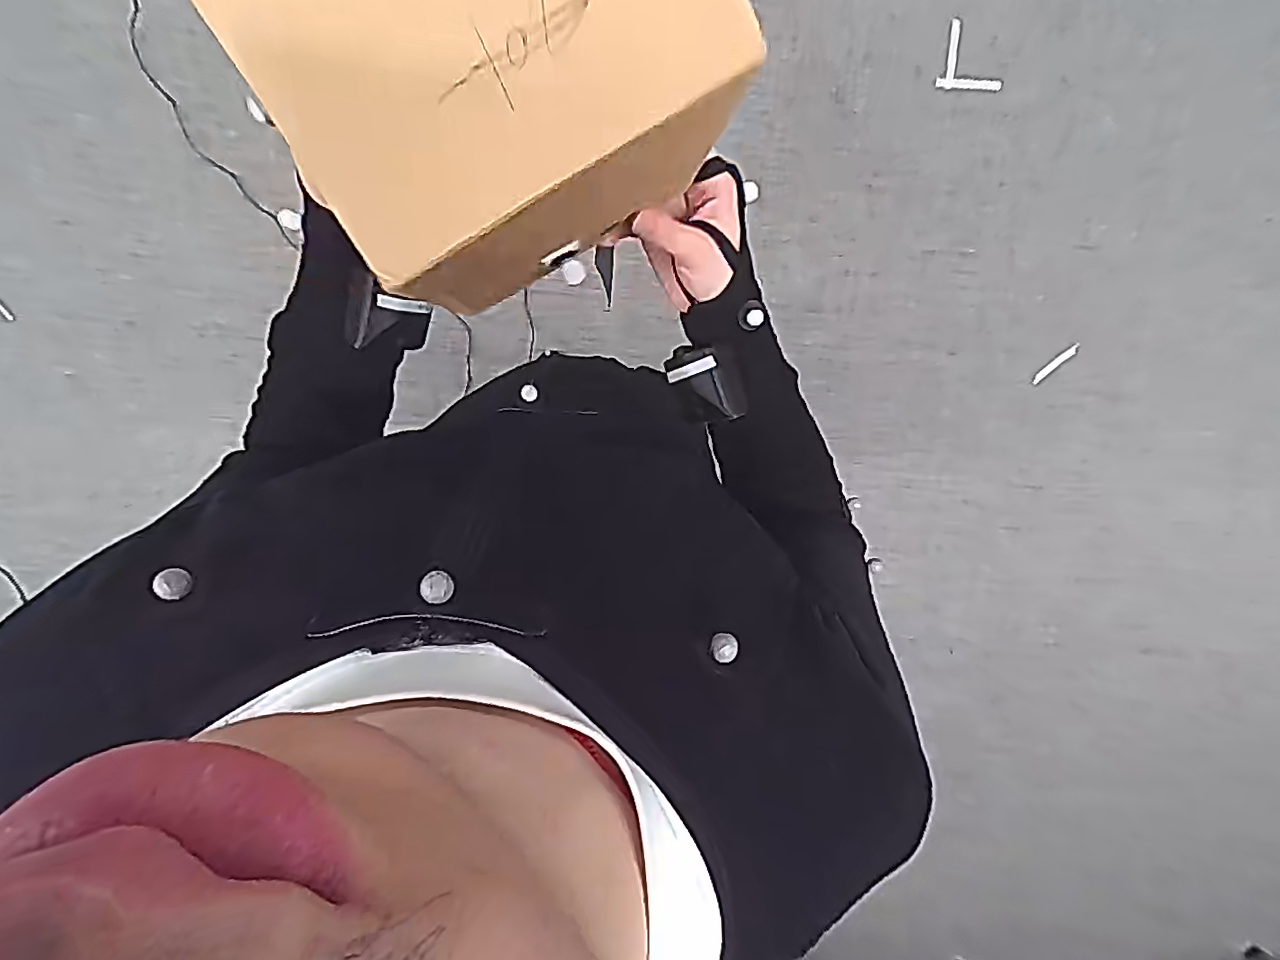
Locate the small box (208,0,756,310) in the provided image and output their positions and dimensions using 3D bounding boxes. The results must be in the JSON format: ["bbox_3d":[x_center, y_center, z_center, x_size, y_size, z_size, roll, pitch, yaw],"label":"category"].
[{"bbox_3d":[-0.074,-0.205,0.268,0.168,0.176,0.179,-32,103,4],"label":"small box"}]
